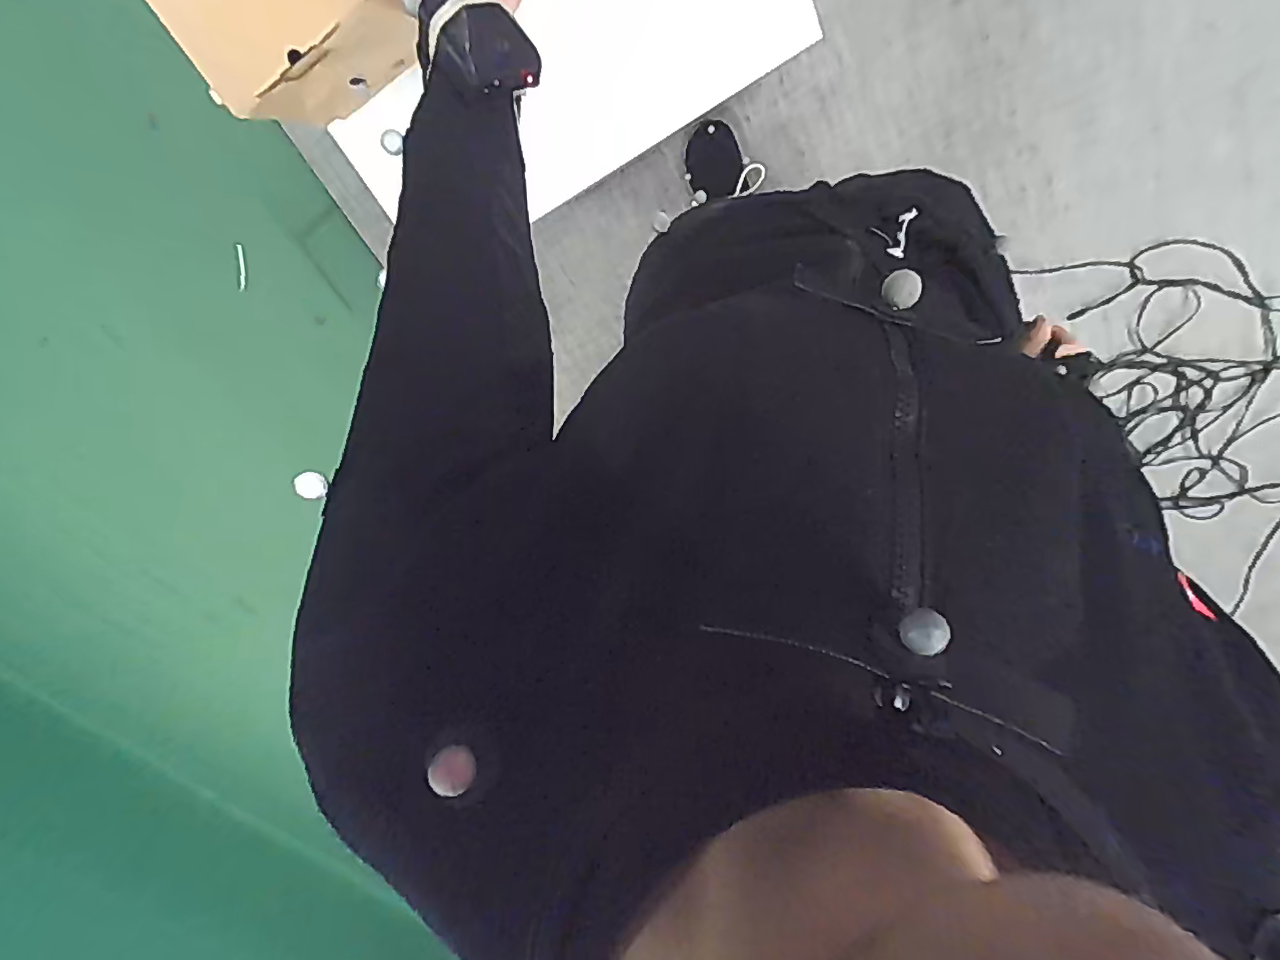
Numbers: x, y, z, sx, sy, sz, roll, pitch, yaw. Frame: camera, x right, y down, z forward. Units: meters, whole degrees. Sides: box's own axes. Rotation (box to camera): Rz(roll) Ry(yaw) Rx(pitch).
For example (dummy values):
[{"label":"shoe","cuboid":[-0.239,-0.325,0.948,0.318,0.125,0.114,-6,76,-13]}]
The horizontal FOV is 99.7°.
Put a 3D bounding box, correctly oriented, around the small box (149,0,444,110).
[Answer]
[{"label":"small box","cuboid":[-0.309,-0.452,0.467,0.168,0.176,0.179,-21,119,20]}]
